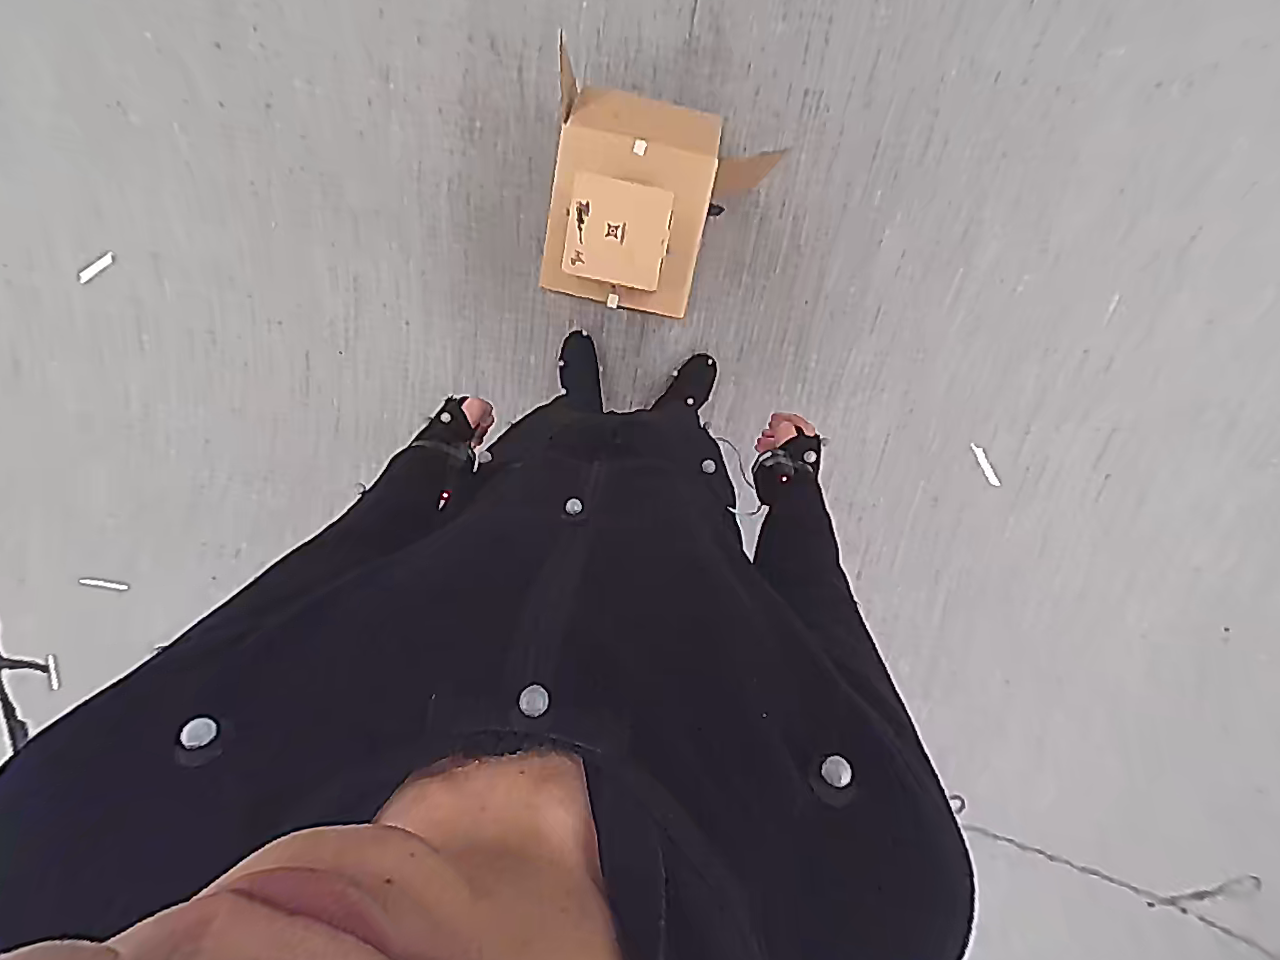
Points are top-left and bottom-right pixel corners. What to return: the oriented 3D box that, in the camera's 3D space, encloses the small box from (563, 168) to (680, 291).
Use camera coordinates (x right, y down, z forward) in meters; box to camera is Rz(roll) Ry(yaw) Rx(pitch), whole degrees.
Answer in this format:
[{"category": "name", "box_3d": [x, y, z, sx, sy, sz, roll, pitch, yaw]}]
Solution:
[{"category": "small box", "box_3d": [-0.034, -0.454, 1.003, 0.179, 0.176, 0.168, 11, 108, -3]}]
